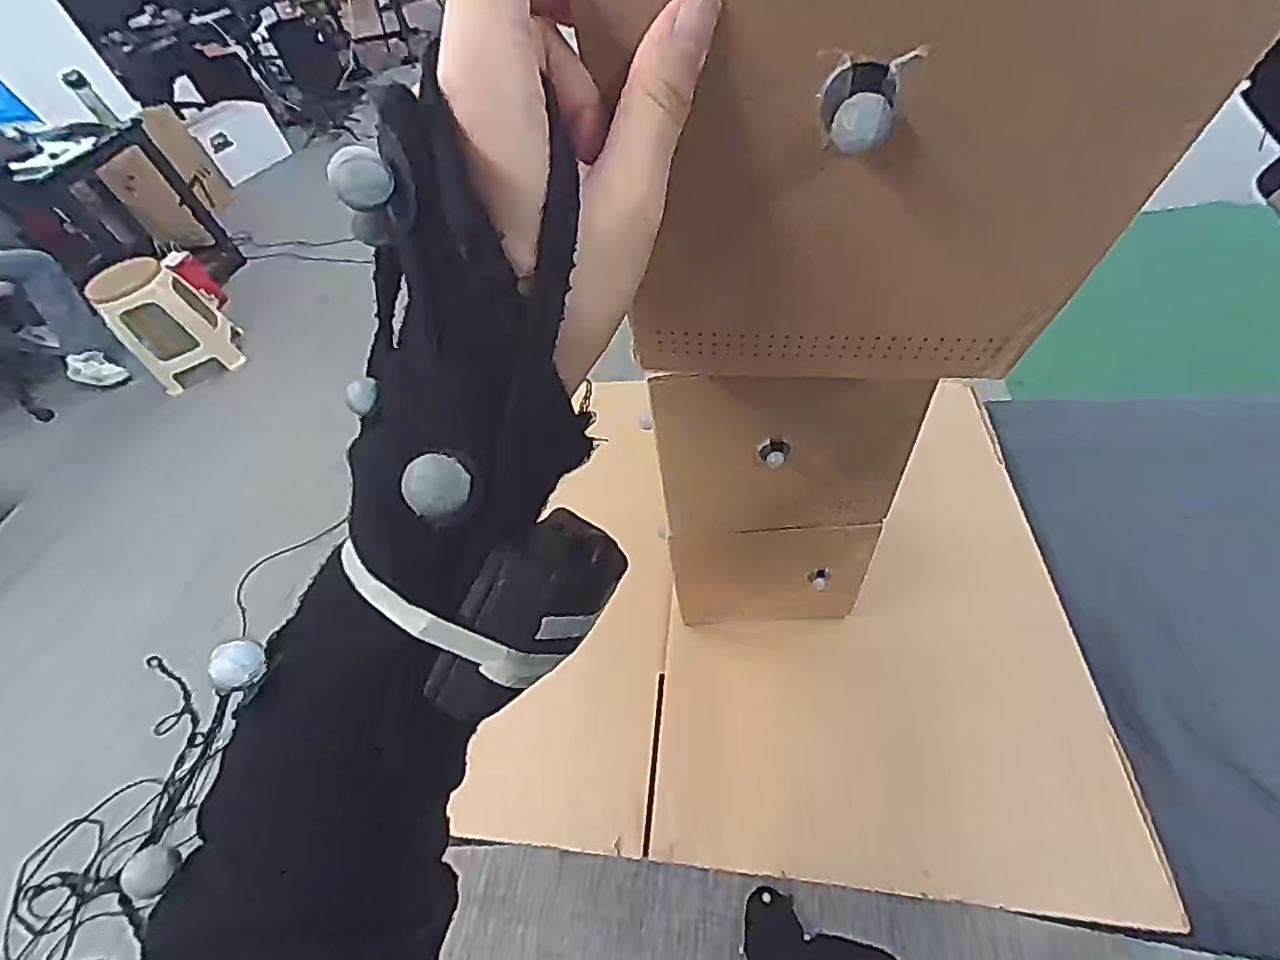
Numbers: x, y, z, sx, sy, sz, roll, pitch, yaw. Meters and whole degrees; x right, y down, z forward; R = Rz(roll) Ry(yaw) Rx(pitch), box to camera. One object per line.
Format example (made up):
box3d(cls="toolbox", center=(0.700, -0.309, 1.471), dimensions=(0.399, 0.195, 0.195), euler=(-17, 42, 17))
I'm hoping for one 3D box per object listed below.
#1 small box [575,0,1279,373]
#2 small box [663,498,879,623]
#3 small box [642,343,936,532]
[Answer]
box3d(cls="small box", center=(0.086, -0.160, 0.228), dimensions=(0.179, 0.176, 0.168), euler=(3, 64, 10))
box3d(cls="small box", center=(0.115, 0.032, 0.548), dimensions=(0.179, 0.176, 0.168), euler=(-5, 49, 6))
box3d(cls="small box", center=(0.095, -0.075, 0.424), dimensions=(0.179, 0.176, 0.168), euler=(-6, 49, 5))
